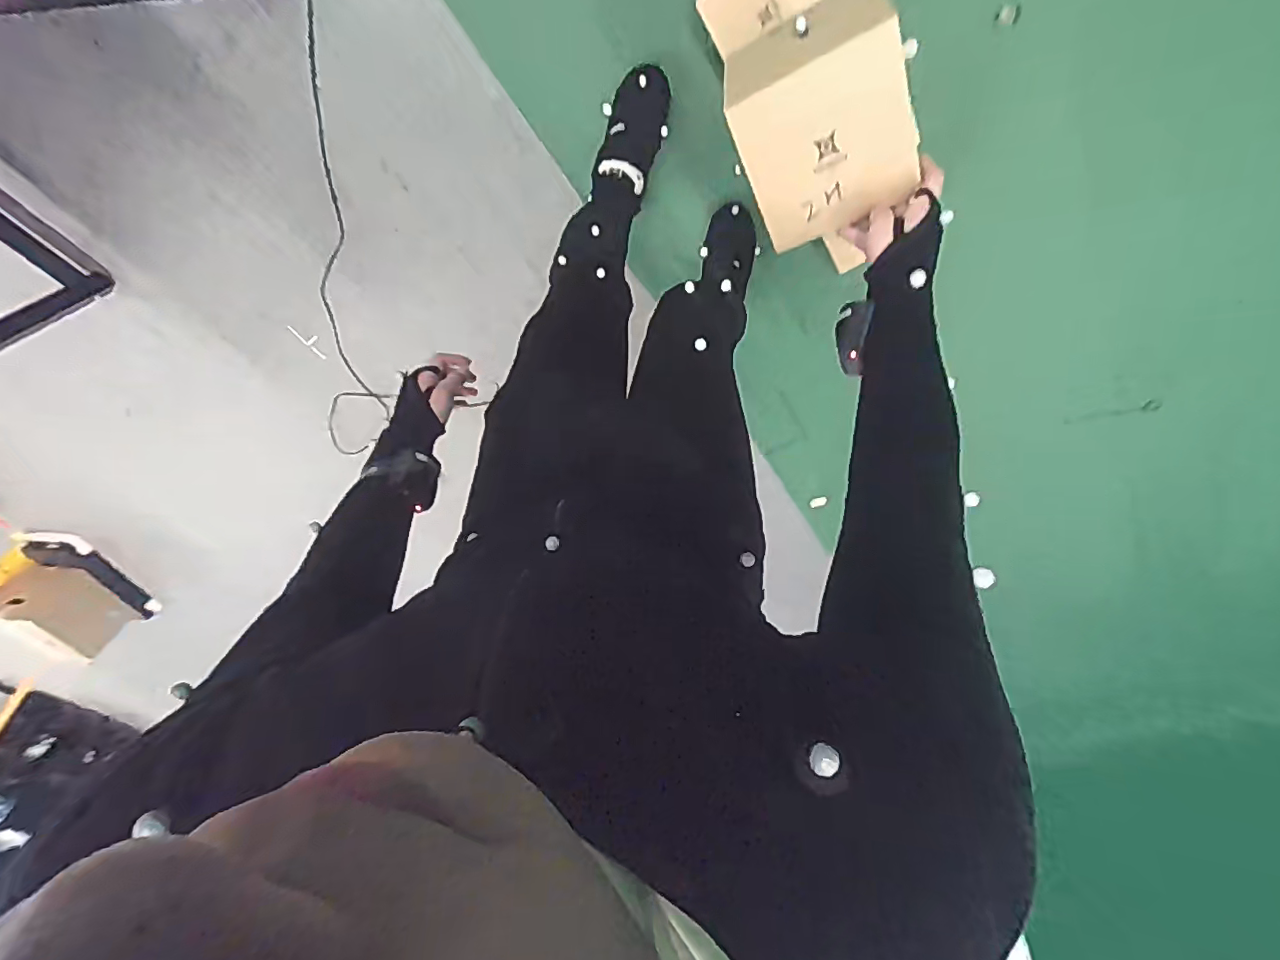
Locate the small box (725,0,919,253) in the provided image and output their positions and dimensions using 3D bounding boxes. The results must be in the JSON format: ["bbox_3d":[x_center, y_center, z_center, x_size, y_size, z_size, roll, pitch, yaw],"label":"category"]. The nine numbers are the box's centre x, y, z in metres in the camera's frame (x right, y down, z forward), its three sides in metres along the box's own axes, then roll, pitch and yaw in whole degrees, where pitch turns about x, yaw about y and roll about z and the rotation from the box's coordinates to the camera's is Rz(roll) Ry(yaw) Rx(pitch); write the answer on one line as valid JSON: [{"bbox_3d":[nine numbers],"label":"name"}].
[{"bbox_3d":[0.200,-0.404,0.611,0.168,0.176,0.179,-14,140,26],"label":"small box"}]
